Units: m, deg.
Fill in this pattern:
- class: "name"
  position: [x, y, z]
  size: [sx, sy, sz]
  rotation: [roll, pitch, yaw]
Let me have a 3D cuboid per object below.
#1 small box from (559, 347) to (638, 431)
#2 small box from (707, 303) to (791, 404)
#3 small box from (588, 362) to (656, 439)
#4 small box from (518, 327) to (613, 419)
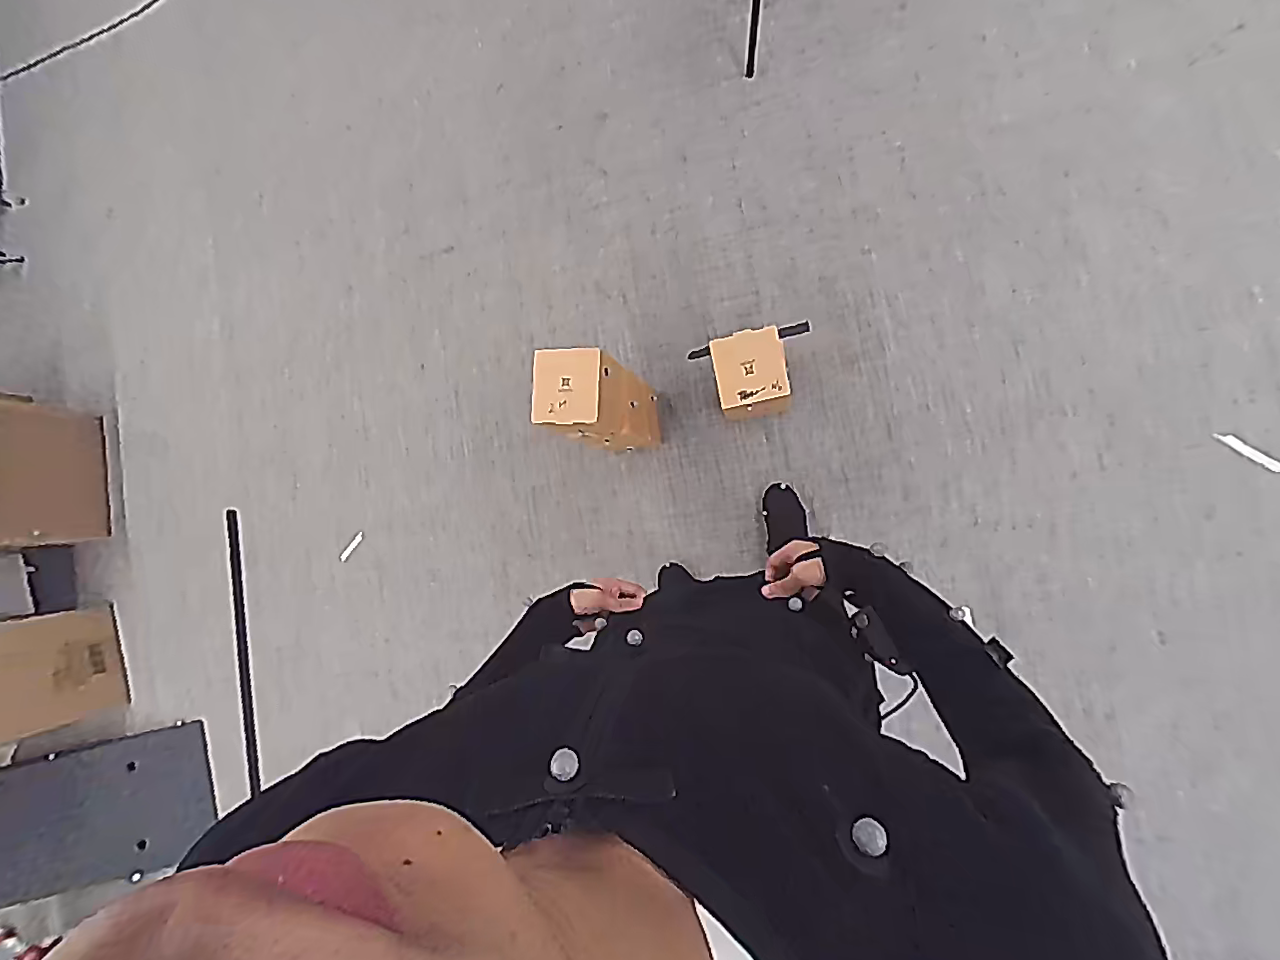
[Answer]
- class: "small box"
  position: [-0.106, -0.229, 1.397]
  size: [0.168, 0.176, 0.179]
  rotation: [-4, 88, 15]
- class: "small box"
  position: [0.262, -0.297, 1.306]
  size: [0.168, 0.176, 0.179]
  rotation: [-11, 85, 13]
- class: "small box"
  position: [-0.056, -0.222, 1.551]
  size: [0.168, 0.176, 0.179]
  rotation: [-7, 86, 14]
- class: "small box"
  position: [-0.164, -0.240, 1.242]
  size: [0.168, 0.176, 0.179]
  rotation: [2, 90, 15]
